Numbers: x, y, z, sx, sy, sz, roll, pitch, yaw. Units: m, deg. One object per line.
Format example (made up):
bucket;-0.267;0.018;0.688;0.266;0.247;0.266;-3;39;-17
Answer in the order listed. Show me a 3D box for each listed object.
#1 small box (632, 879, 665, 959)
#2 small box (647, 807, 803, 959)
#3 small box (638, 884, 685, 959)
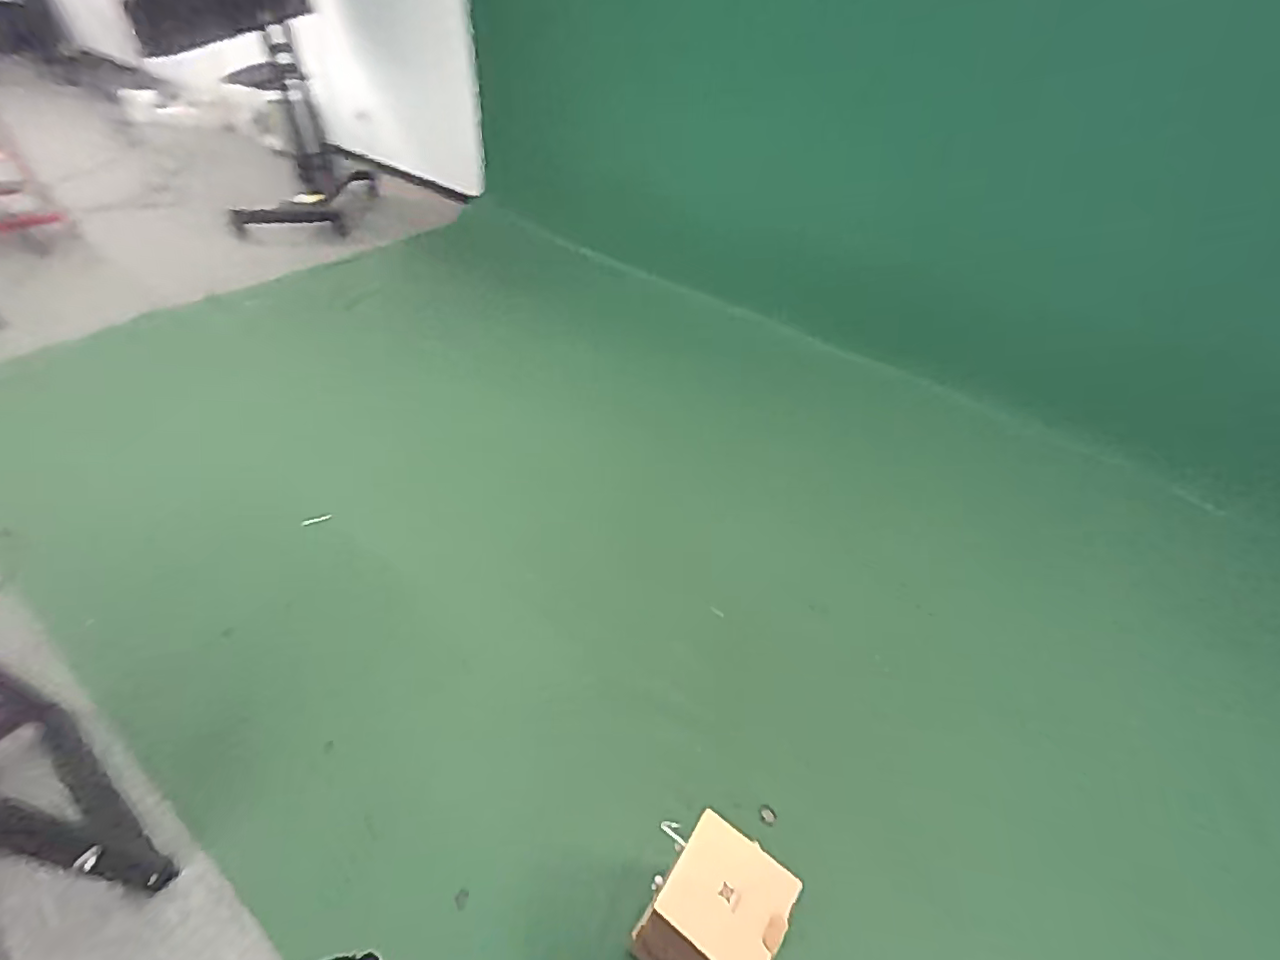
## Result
small box;0.096;0.911;1.098;0.168;0.176;0.179;30;49;22
small box;0.128;0.679;0.869;0.179;0.176;0.168;30;49;21
small box;0.117;0.794;0.980;0.179;0.176;0.168;33;48;23
